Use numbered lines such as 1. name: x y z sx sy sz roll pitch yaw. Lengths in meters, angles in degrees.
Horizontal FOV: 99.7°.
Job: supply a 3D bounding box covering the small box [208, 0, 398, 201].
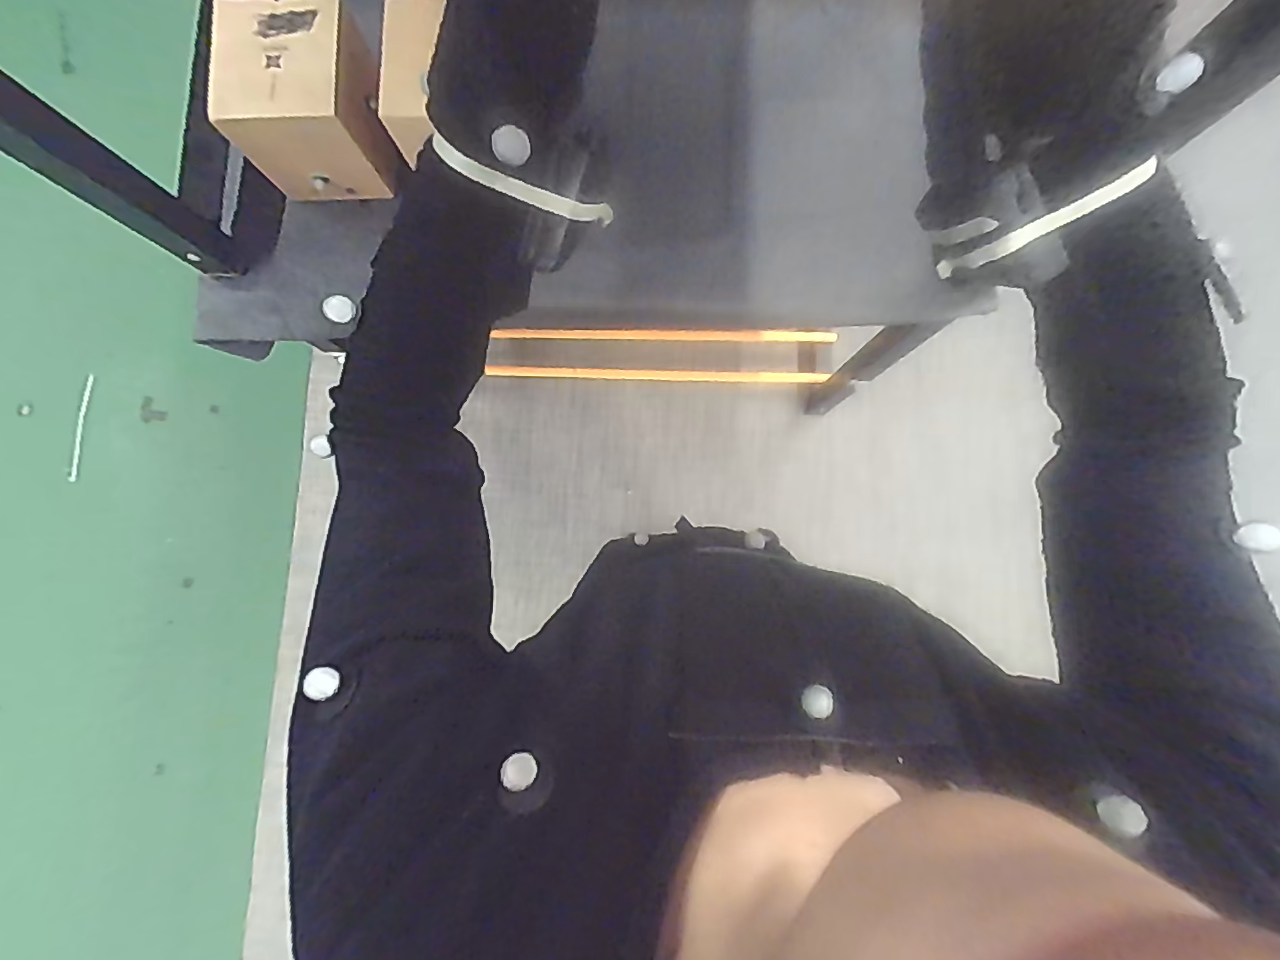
1. small box: -0.465 -0.533 0.774 0.168 0.176 0.179 -1 83 1
